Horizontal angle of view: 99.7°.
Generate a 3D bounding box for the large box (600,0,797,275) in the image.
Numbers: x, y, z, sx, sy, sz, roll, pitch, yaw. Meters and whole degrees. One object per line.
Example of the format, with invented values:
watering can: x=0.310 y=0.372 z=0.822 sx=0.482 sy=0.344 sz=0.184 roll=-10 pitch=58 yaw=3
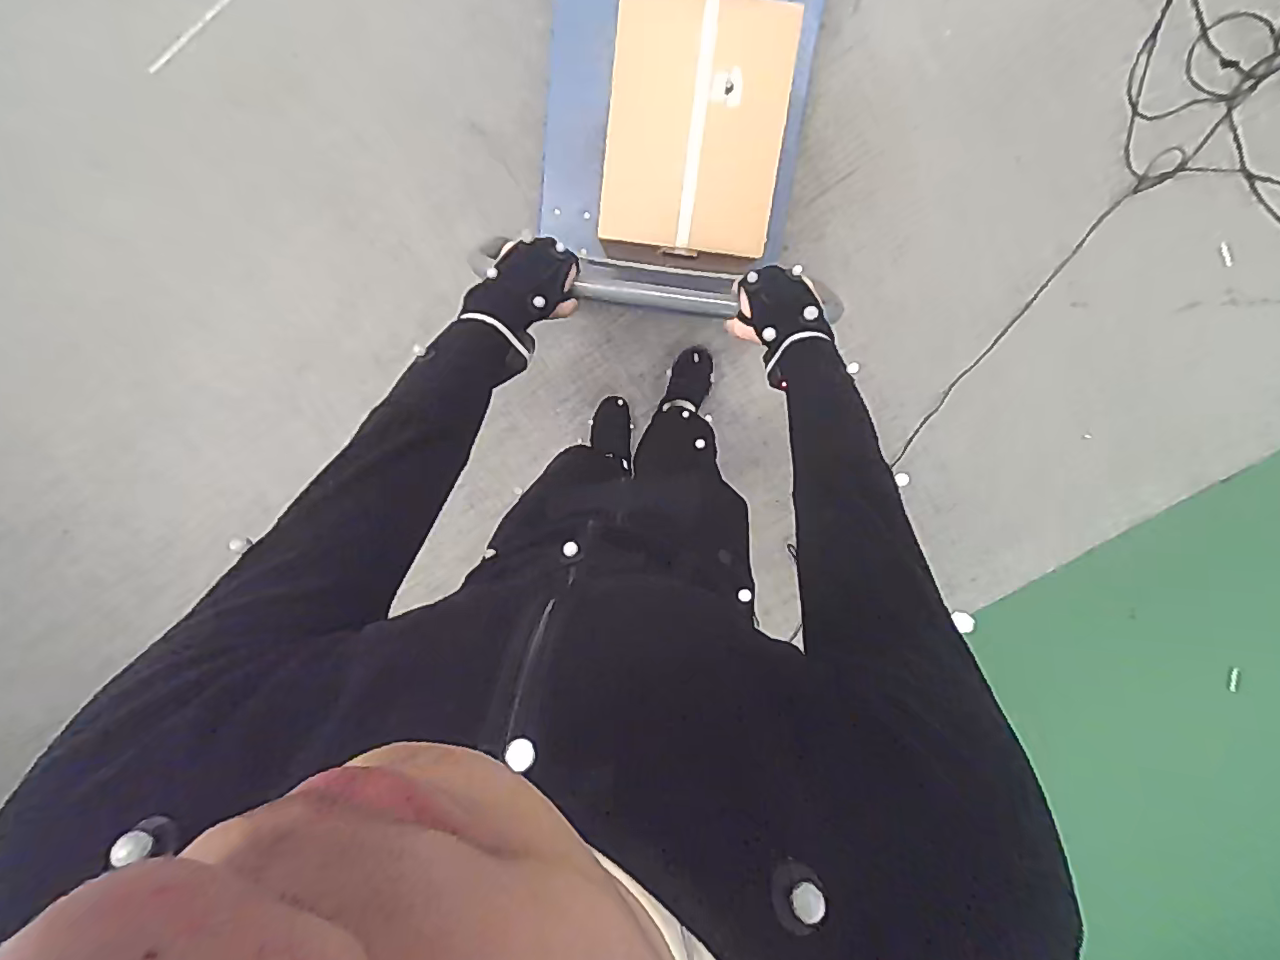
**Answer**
large box: x=0.102 y=-0.667 z=1.123 sx=0.320 sy=0.320 sz=0.408 roll=7 pitch=104 yaw=-2
